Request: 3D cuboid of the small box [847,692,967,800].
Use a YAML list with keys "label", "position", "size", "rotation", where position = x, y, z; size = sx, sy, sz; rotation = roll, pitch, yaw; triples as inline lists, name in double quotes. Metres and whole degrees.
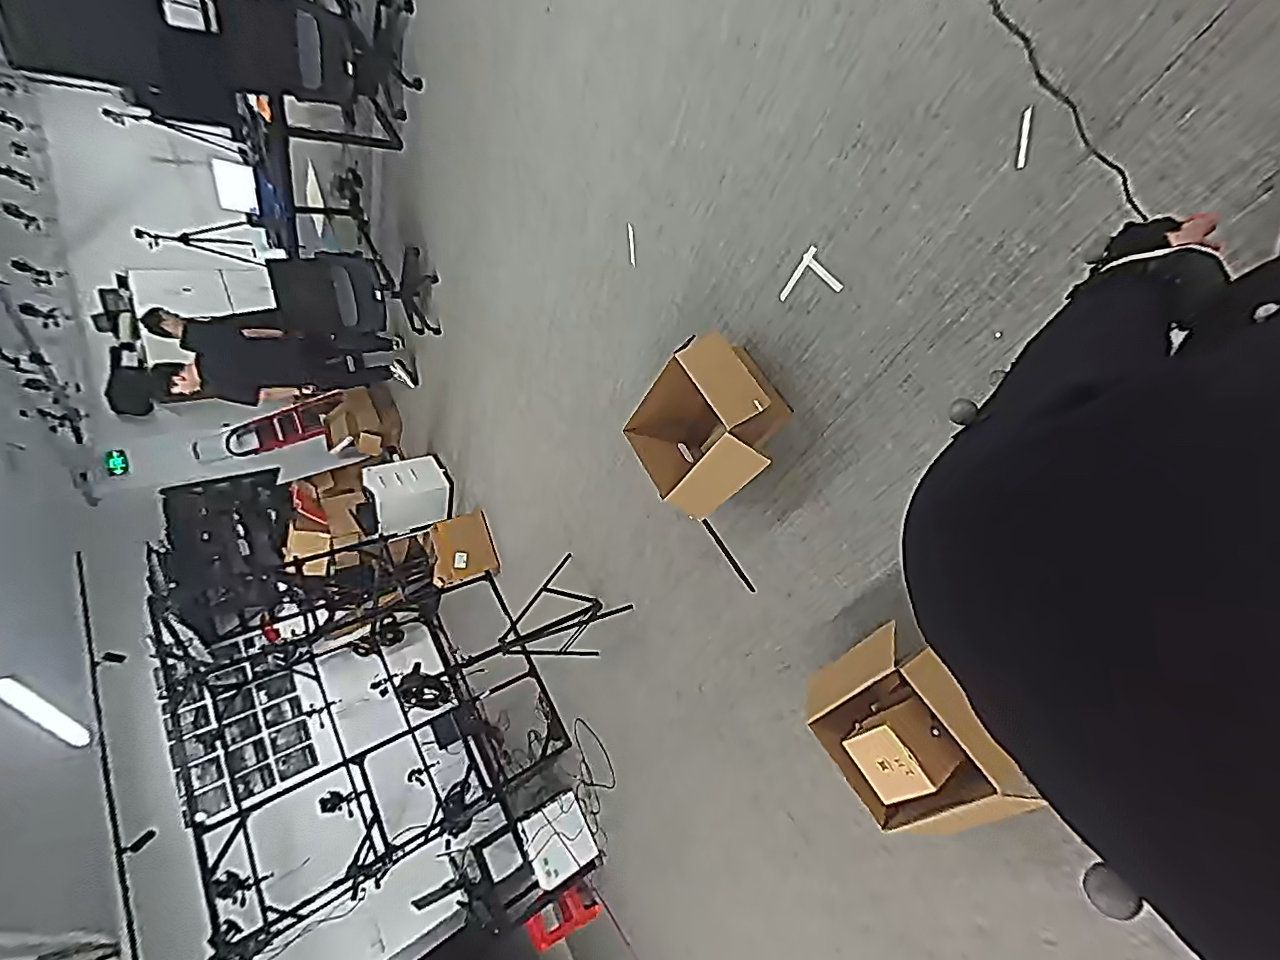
- label: "small box"
  position: [0.669, 0.663, 1.353]
  size: [0.168, 0.176, 0.179]
  rotation: [56, 140, 23]
